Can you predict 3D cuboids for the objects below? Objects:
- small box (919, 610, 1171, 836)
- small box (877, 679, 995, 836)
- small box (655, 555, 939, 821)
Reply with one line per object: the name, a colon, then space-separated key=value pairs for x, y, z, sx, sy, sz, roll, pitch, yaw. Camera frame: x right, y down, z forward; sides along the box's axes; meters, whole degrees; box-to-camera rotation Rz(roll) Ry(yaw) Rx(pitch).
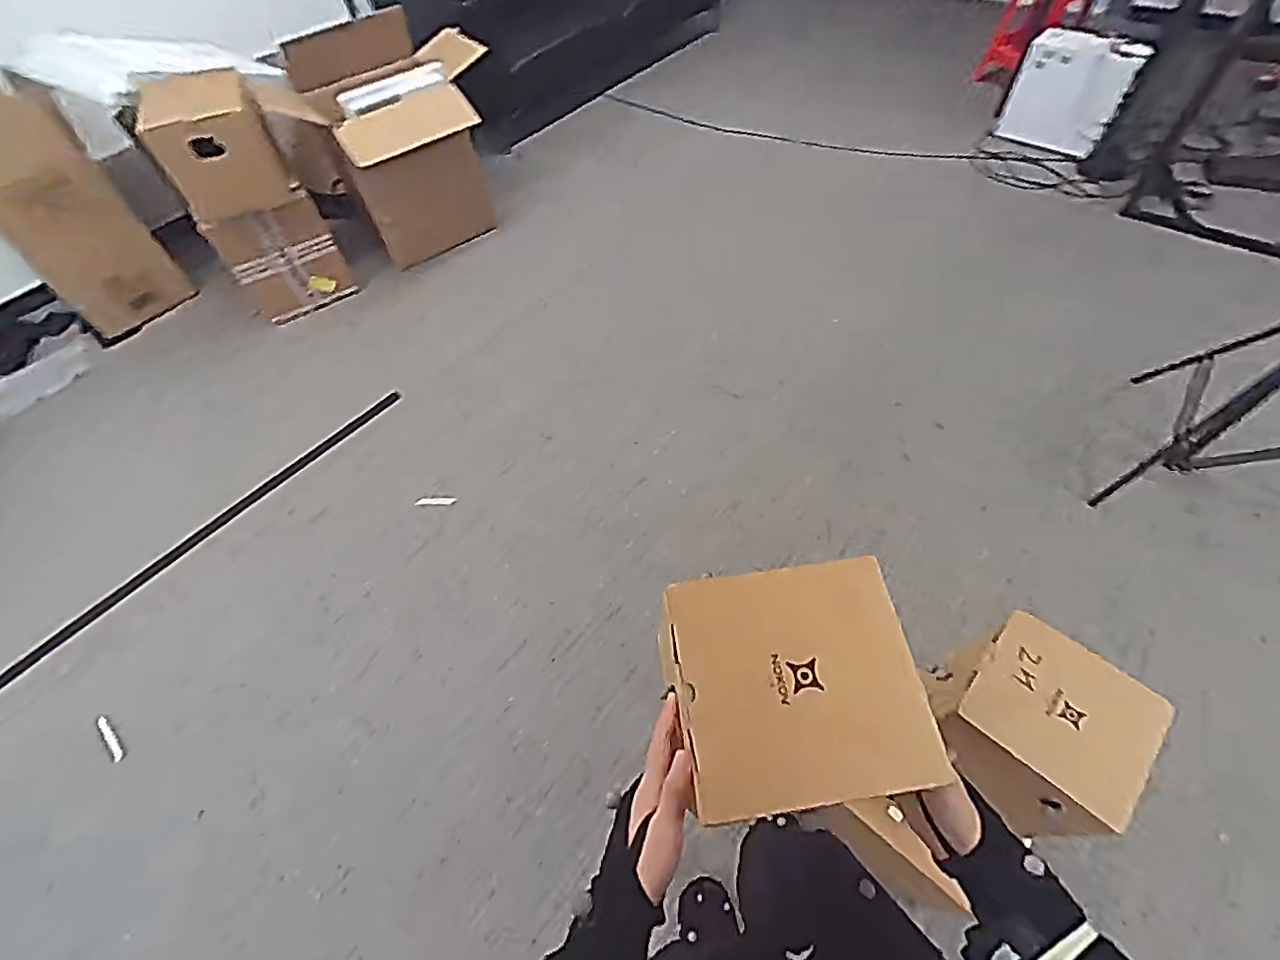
small box: x=0.473 y=0.299 z=0.668 sx=0.179 sy=0.176 sz=0.168 roll=37 pitch=67 yaw=26
small box: x=0.499 y=0.484 z=0.939 sx=0.179 sy=0.176 sz=0.168 roll=34 pitch=66 yaw=23
small box: x=0.111 y=0.179 z=0.472 sx=0.179 sy=0.176 sz=0.168 roll=-9 pitch=64 yaw=-3
